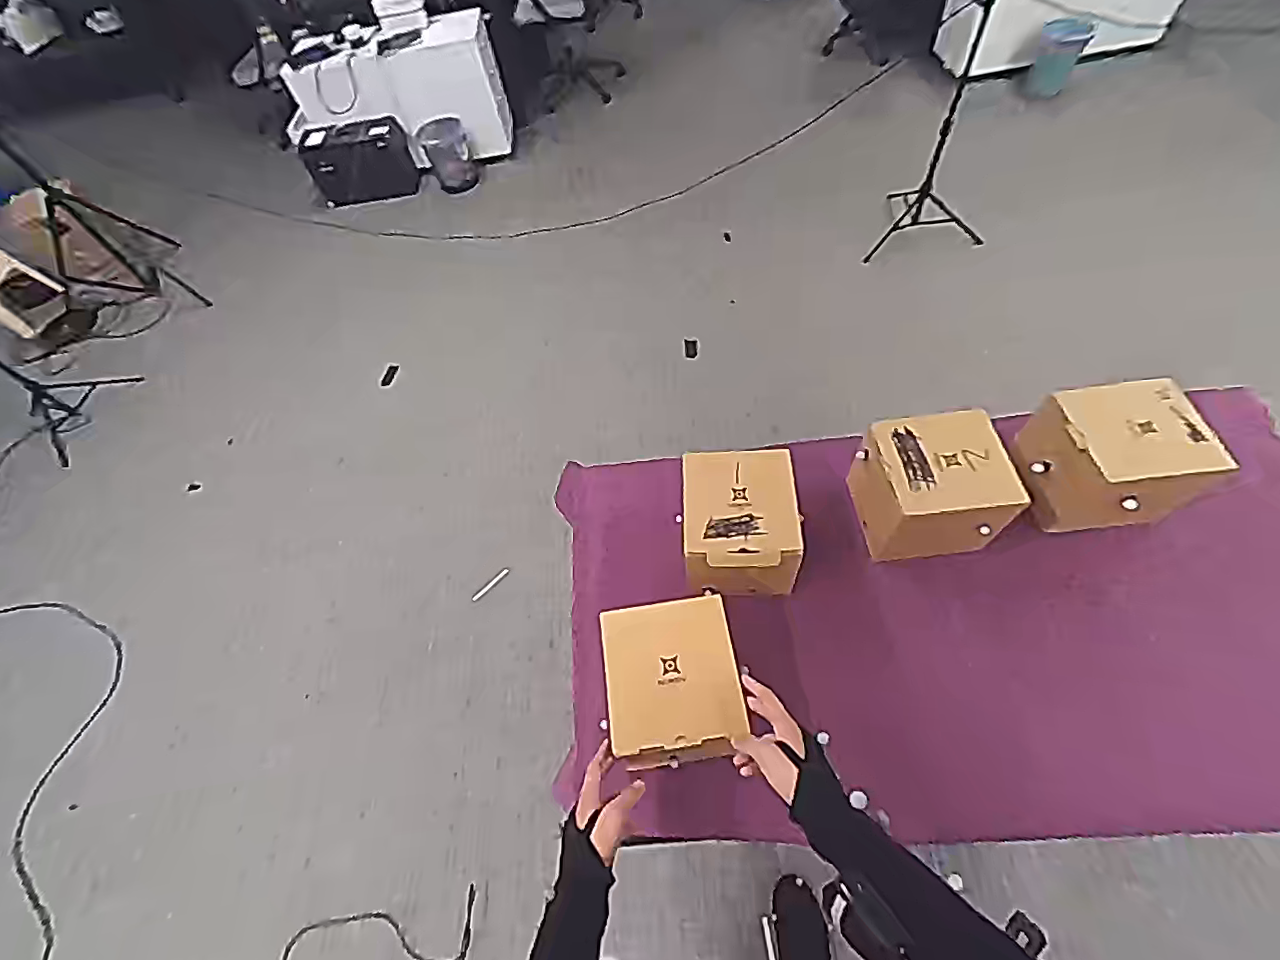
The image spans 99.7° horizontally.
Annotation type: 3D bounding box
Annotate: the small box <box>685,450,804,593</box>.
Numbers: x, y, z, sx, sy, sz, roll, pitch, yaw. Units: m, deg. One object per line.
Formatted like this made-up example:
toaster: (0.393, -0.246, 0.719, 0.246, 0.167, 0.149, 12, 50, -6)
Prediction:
small box: (0.157, 0.072, 0.856, 0.168, 0.176, 0.179, -2, 58, 6)

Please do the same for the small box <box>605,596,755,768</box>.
small box: (0.048, 0.279, 0.737, 0.168, 0.176, 0.179, -9, 58, 0)
